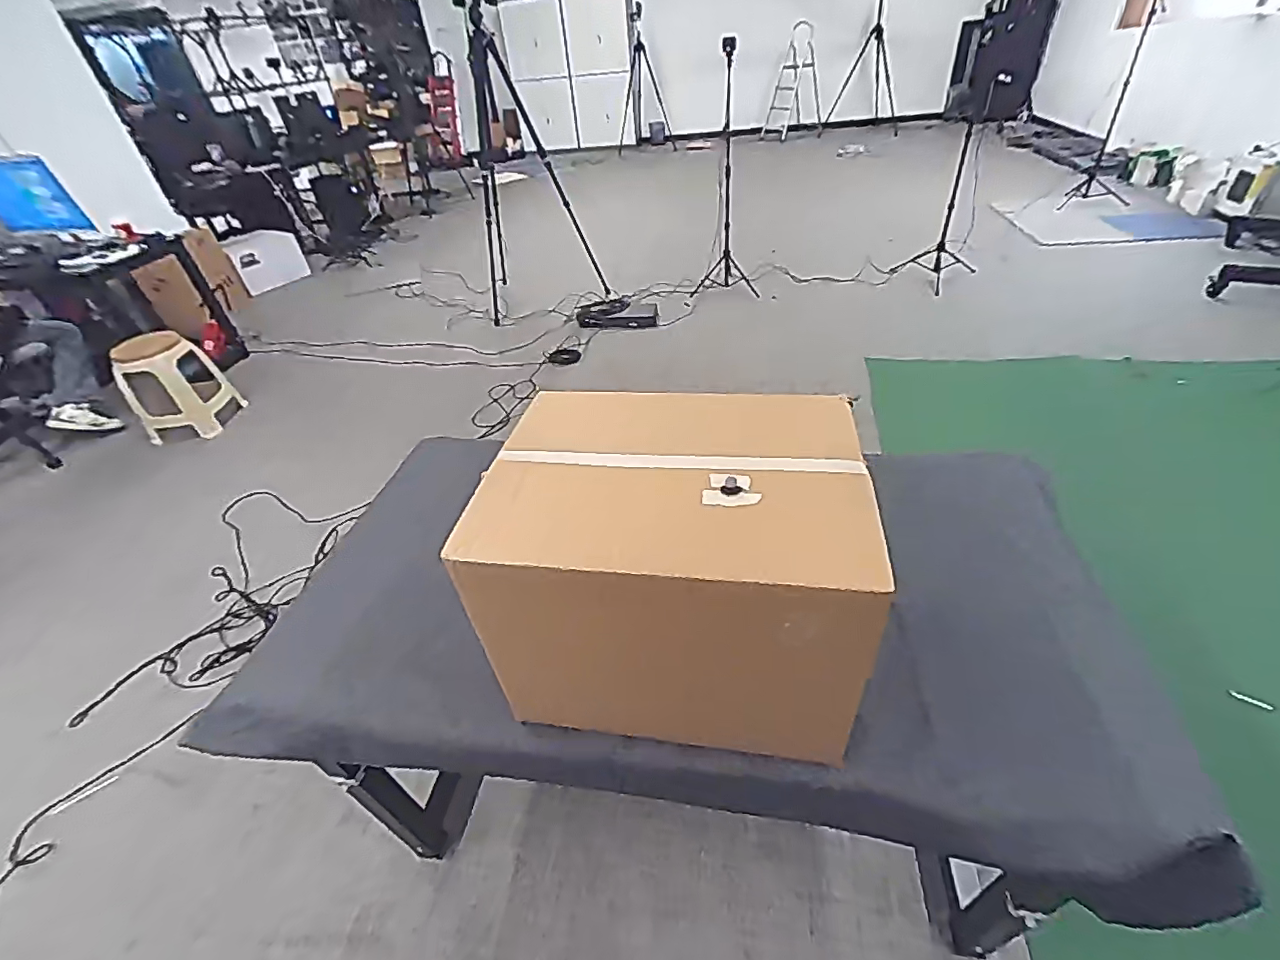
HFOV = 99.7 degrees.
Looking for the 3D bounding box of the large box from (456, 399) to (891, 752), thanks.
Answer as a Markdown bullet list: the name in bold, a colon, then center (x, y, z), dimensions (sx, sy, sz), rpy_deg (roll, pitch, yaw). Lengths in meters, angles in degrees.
- **large box**: center (0.048, 0.105, 0.689), dimensions (0.408, 0.320, 0.320), rpy_deg (3, 39, 10)
